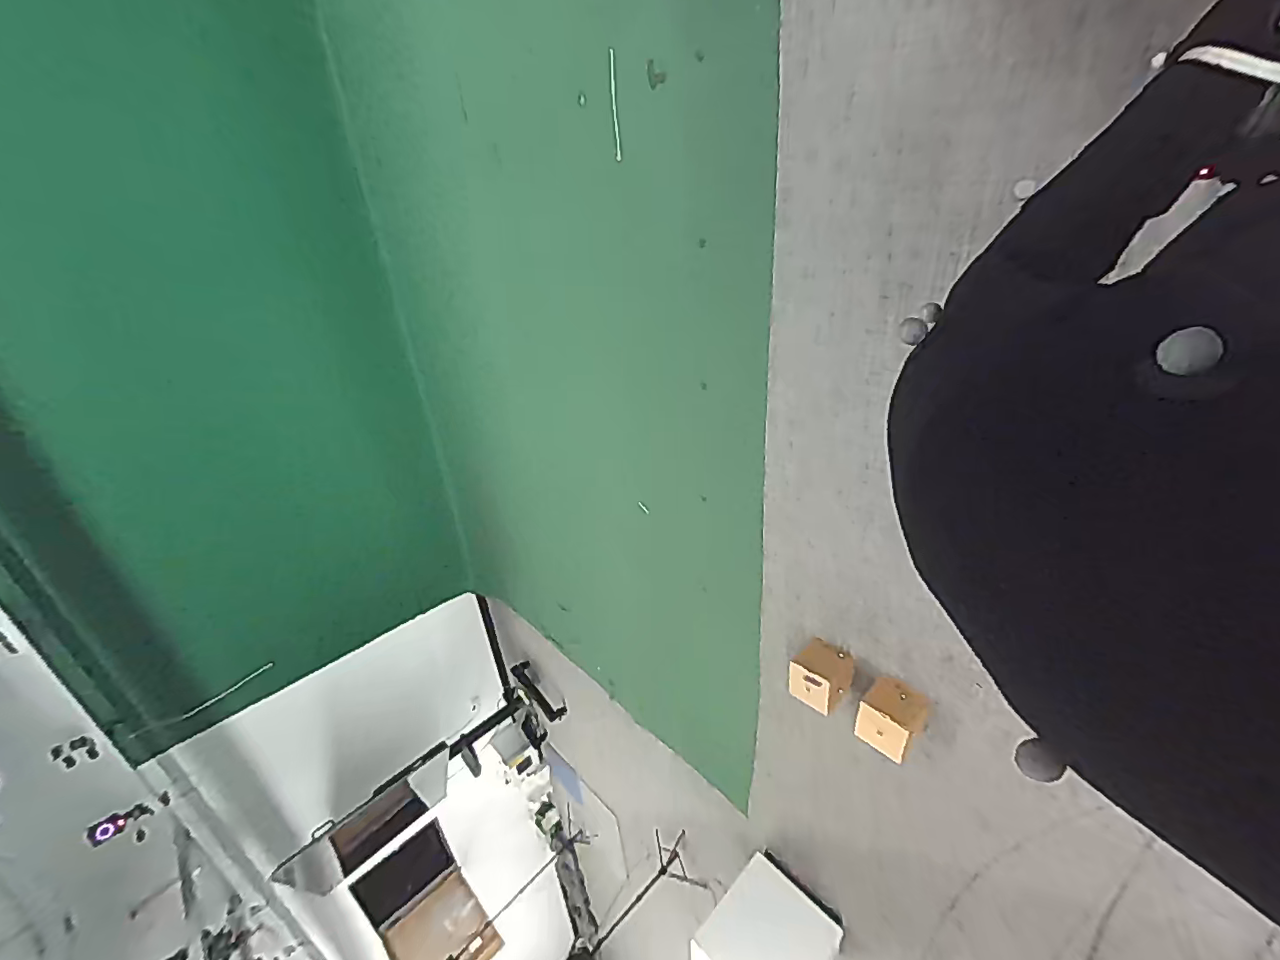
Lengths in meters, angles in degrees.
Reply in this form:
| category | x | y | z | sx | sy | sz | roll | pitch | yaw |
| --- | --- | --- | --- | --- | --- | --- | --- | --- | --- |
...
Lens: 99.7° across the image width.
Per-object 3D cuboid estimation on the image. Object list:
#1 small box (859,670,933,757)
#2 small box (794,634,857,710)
| category | x | y | z | sx | sy | sz | roll | pitch | yaw |
| --- | --- | --- | --- | --- | --- | --- | --- | --- | --- |
| small box | 0.882 | 0.797 | 1.860 | 0.168 | 0.176 | 0.179 | 26 | 130 | 42 |
| small box | 0.700 | 0.717 | 2.042 | 0.168 | 0.176 | 0.179 | 22 | 129 | 44 |
